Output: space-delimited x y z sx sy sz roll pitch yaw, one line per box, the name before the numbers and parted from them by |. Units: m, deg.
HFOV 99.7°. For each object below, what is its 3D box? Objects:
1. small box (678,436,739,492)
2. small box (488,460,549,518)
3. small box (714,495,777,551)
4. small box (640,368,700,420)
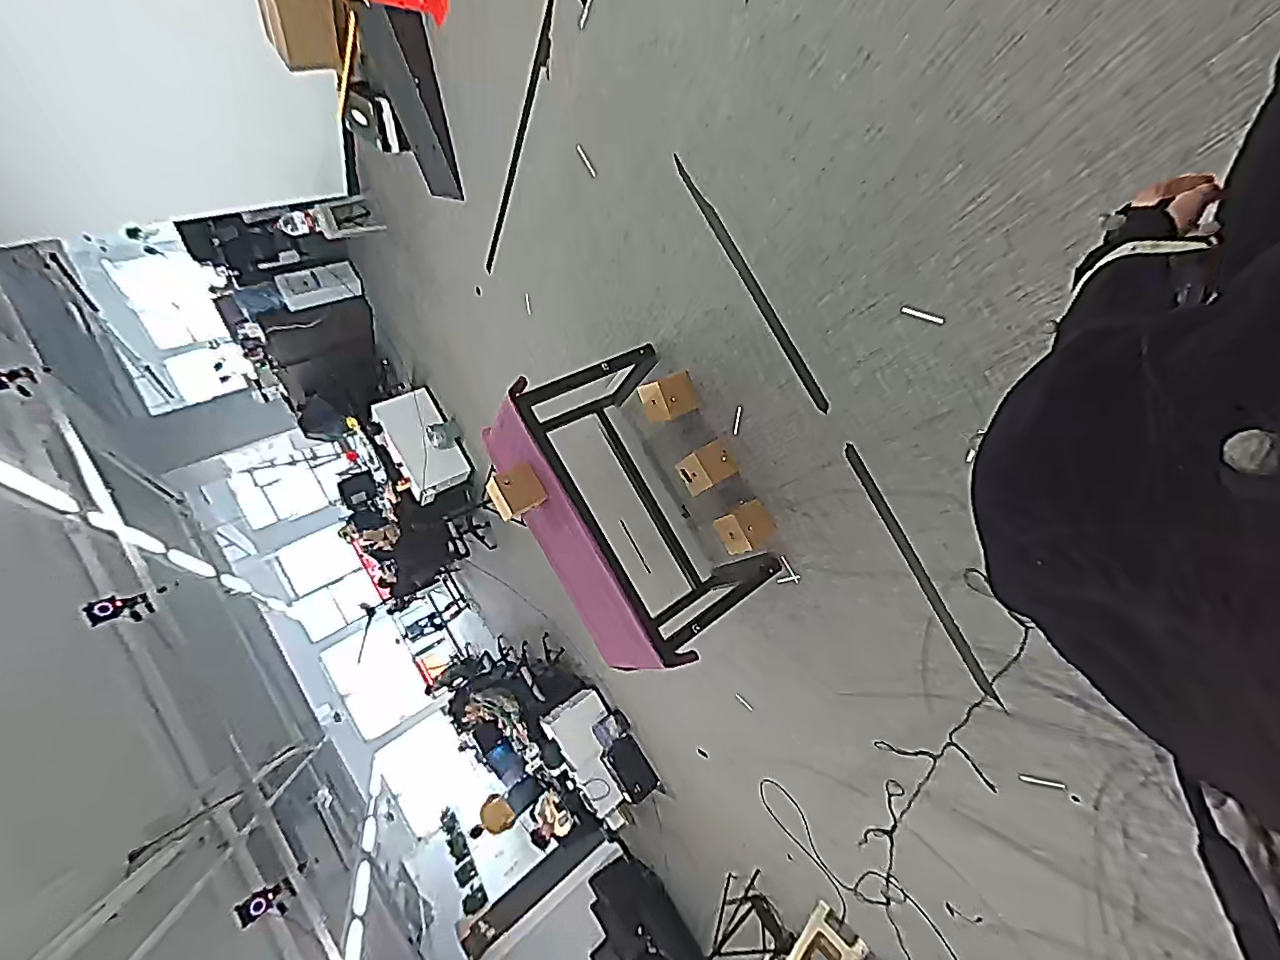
small box | 0.304 -0.070 2.384 0.168 0.176 0.179 59 150 3
small box | -0.505 0.033 2.250 0.179 0.176 0.168 60 152 1
small box | 0.465 0.188 2.356 0.179 0.176 0.168 62 150 1
small box | 0.133 -0.384 2.387 0.168 0.176 0.179 -2 115 57
